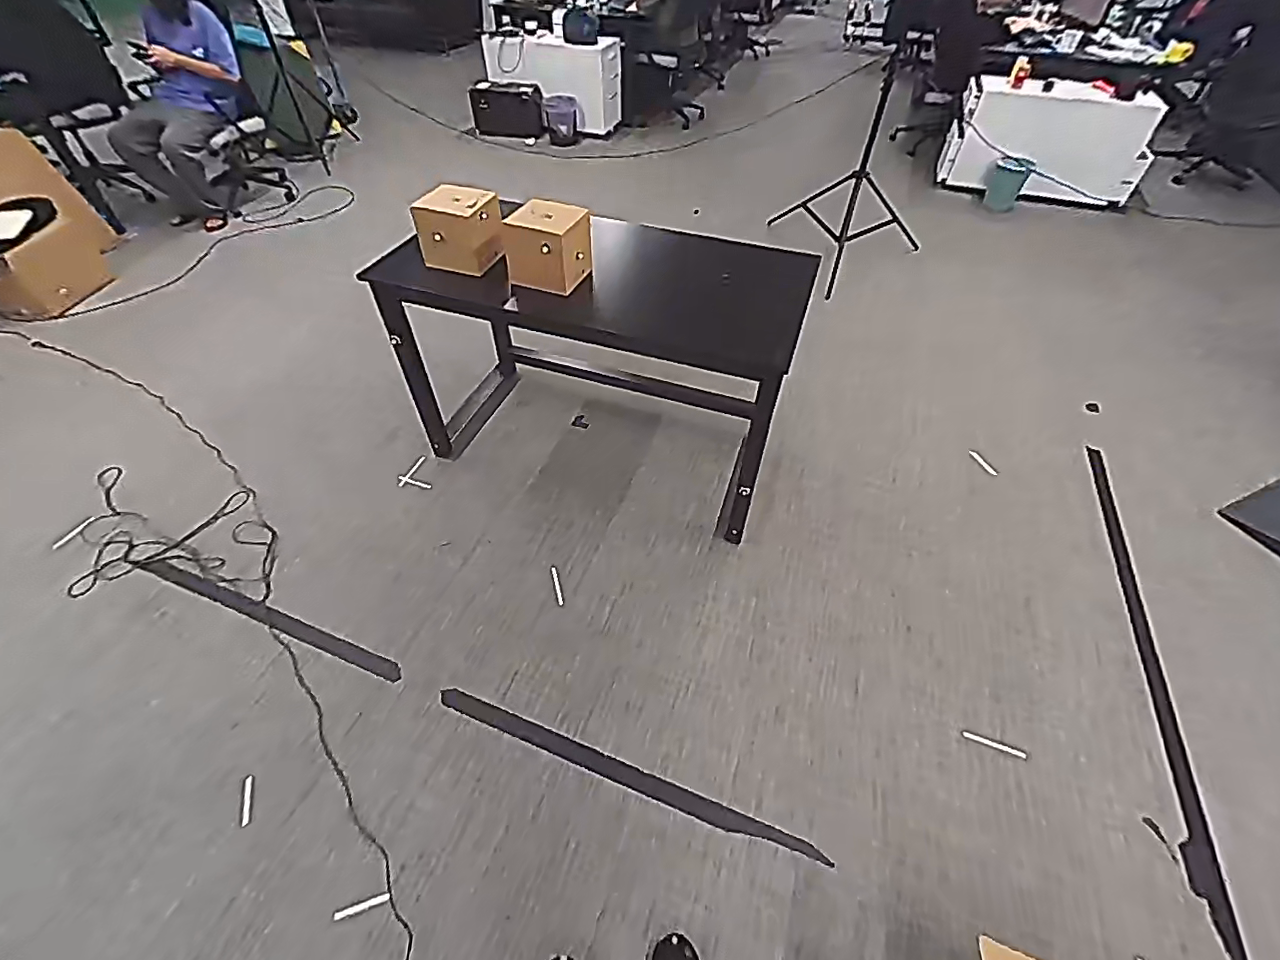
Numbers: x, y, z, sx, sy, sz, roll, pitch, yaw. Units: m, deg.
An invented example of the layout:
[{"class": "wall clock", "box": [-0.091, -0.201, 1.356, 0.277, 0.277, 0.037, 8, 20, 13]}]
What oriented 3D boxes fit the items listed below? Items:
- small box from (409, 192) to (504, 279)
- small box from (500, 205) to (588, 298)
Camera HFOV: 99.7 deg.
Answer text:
[{"class": "small box", "box": [-0.506, -0.685, 1.521, 0.179, 0.176, 0.168, 14, 49, 11]}, {"class": "small box", "box": [-0.250, -0.614, 1.461, 0.179, 0.176, 0.168, 17, 49, 13]}]
